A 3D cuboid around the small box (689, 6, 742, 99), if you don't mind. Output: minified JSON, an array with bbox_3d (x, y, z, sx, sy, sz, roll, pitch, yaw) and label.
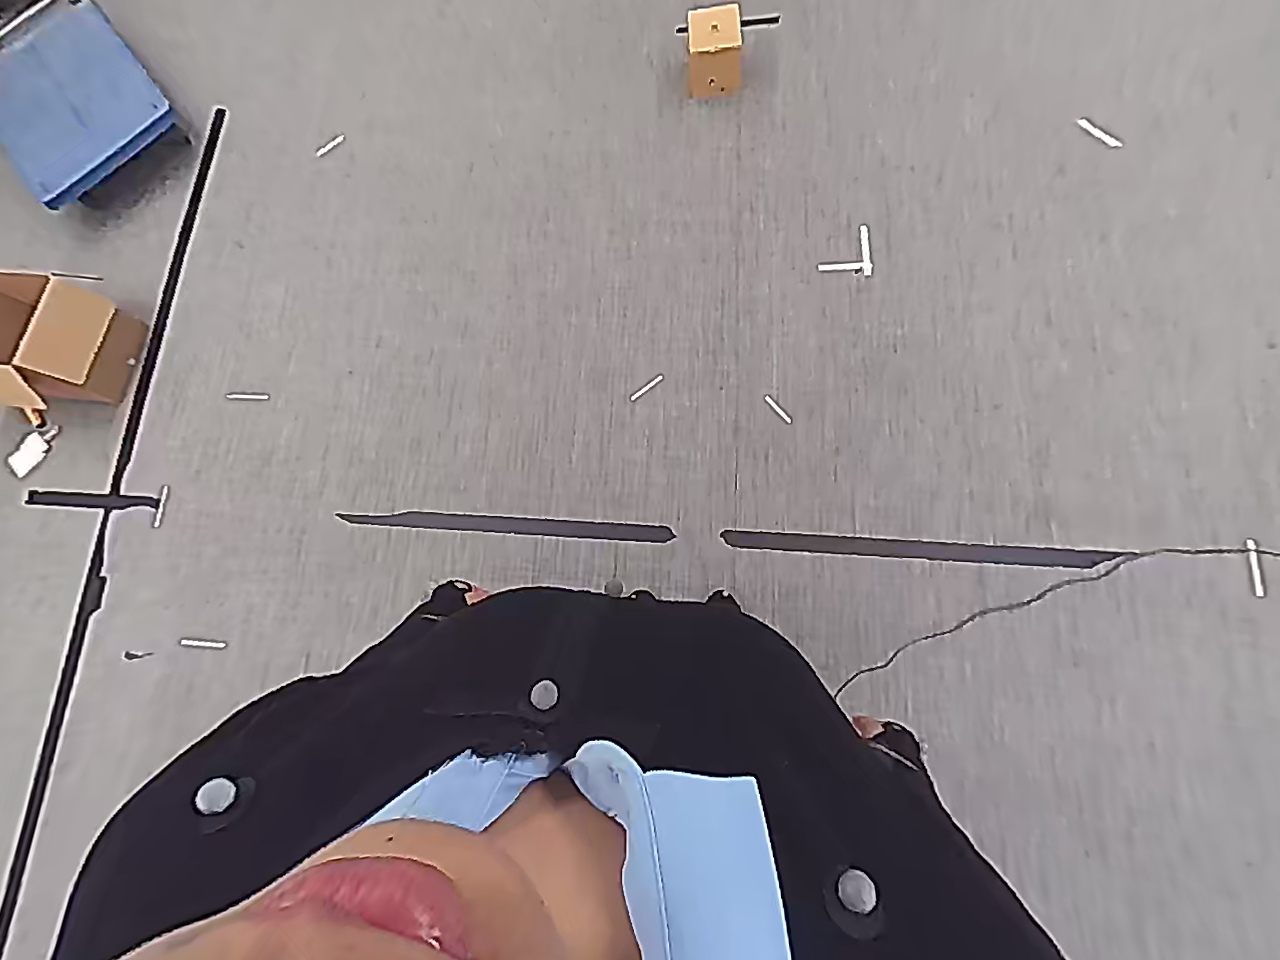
[{"bbox_3d":[0.249,-1.422,1.806,0.168,0.176,0.179,-4,77,7],"label":"small box"}]
